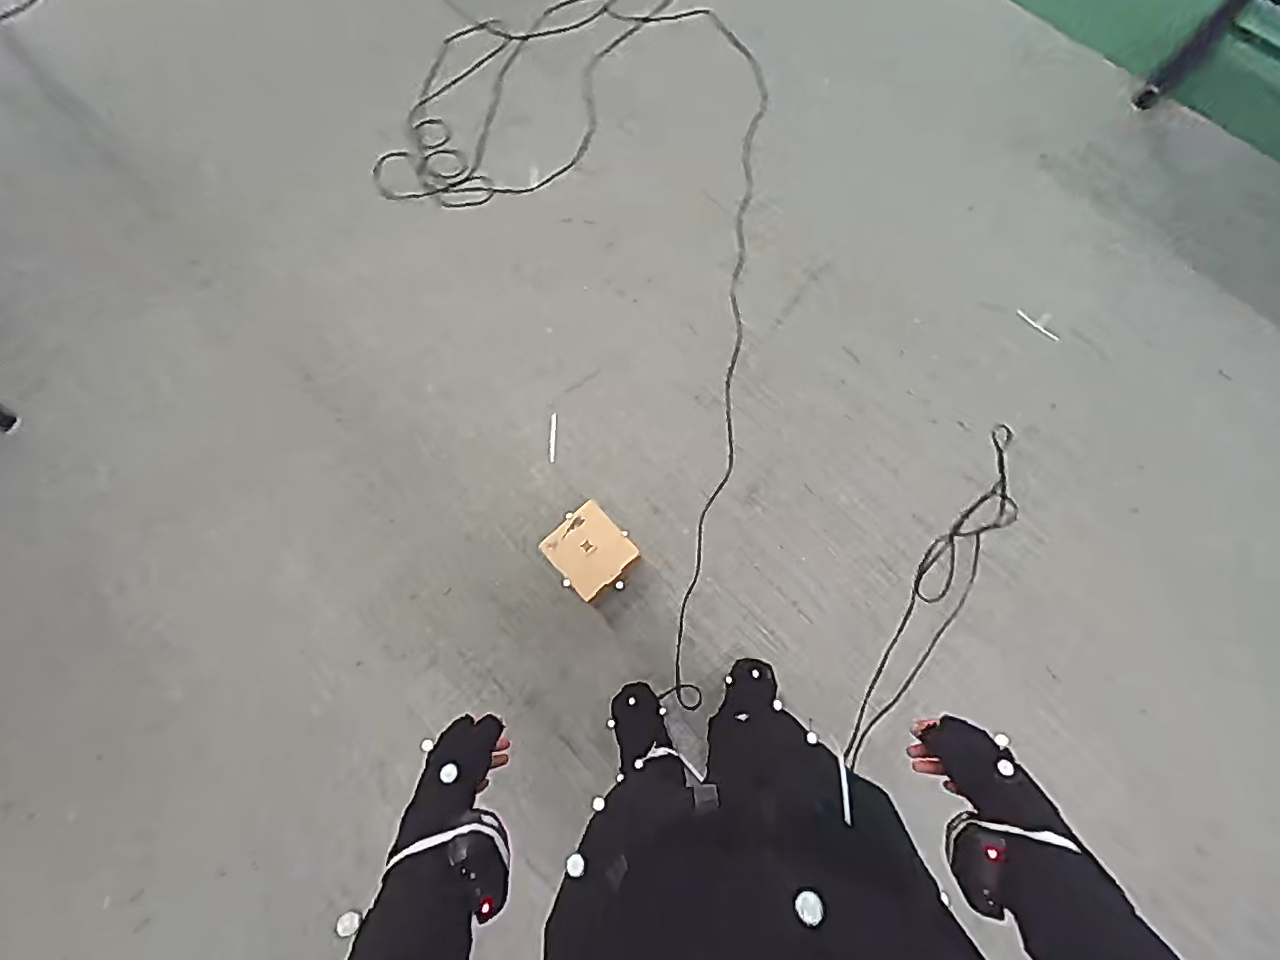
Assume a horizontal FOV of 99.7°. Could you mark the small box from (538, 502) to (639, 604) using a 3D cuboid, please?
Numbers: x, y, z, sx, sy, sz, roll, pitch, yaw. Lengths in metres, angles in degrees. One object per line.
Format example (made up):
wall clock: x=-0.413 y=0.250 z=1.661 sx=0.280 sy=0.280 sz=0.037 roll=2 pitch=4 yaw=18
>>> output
small box: x=-0.115 y=0.181 z=1.299 sx=0.168 sy=0.176 sz=0.179 roll=-42 pitch=77 yaw=-10
